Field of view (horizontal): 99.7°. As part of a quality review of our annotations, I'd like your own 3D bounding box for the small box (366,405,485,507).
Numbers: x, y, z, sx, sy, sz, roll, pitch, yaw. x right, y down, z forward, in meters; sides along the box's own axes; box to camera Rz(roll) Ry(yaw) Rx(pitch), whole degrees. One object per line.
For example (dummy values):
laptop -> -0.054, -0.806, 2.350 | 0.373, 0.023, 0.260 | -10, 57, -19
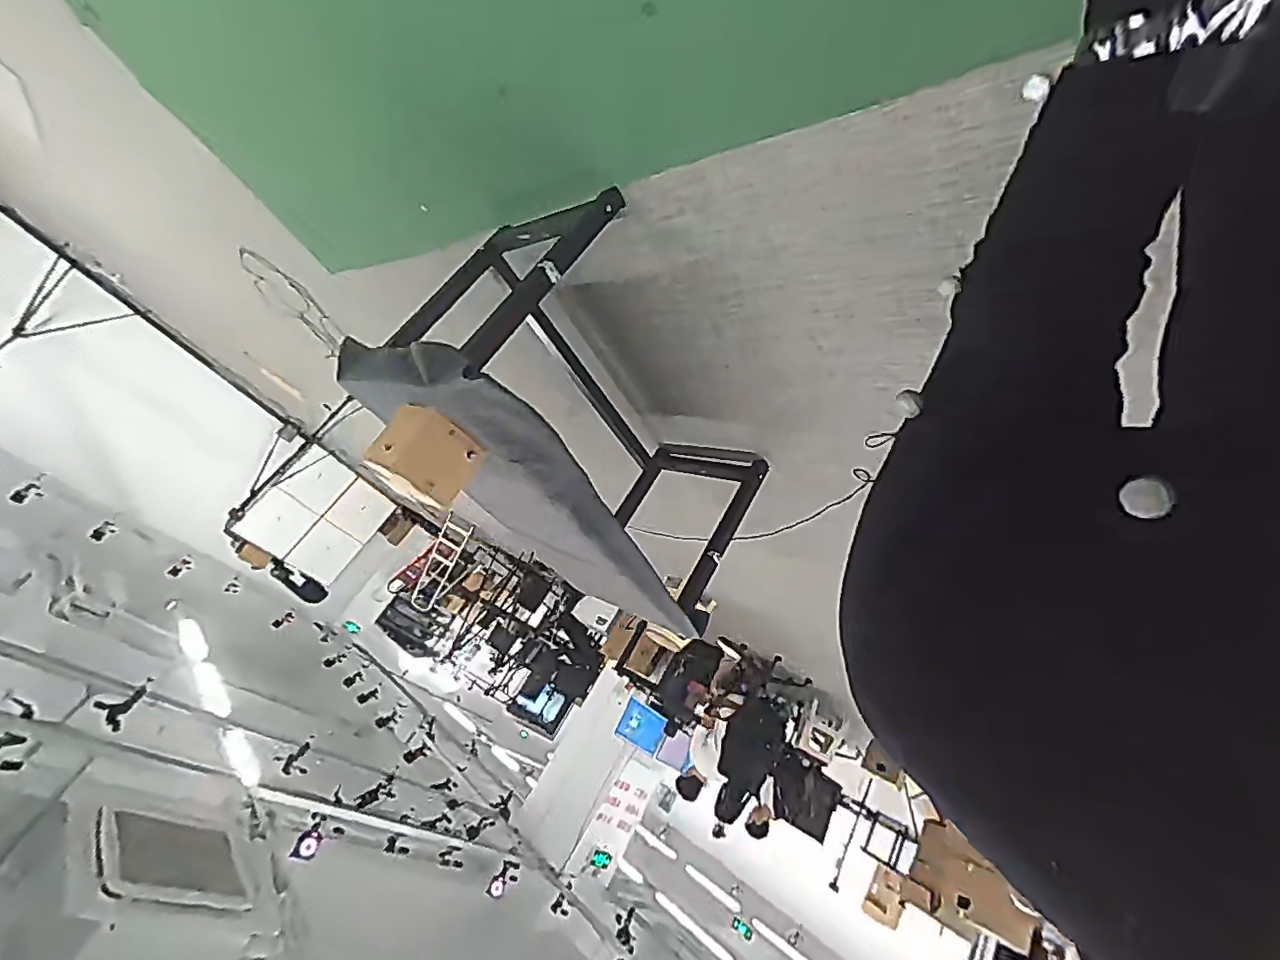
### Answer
small box -> -0.497, -0.062, 1.273 | 0.179, 0.176, 0.168 | 13, 153, 44
